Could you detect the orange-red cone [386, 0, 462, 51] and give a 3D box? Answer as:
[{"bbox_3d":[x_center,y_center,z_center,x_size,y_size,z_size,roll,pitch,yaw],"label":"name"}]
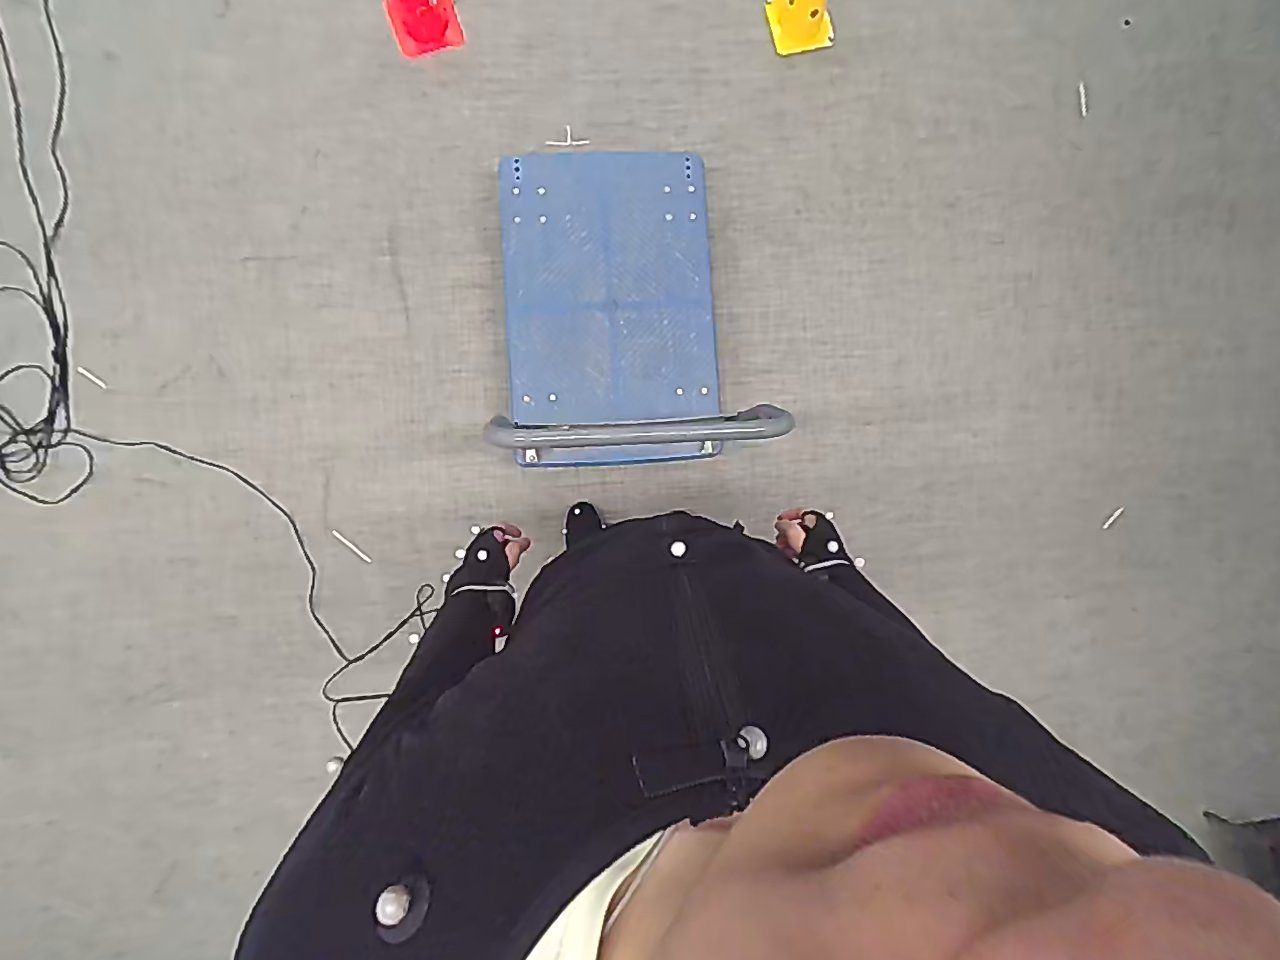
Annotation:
[{"bbox_3d":[-0.651,-1.432,1.486,0.199,0.360,0.198,-18,88,-3],"label":"orange-red cone"}]
